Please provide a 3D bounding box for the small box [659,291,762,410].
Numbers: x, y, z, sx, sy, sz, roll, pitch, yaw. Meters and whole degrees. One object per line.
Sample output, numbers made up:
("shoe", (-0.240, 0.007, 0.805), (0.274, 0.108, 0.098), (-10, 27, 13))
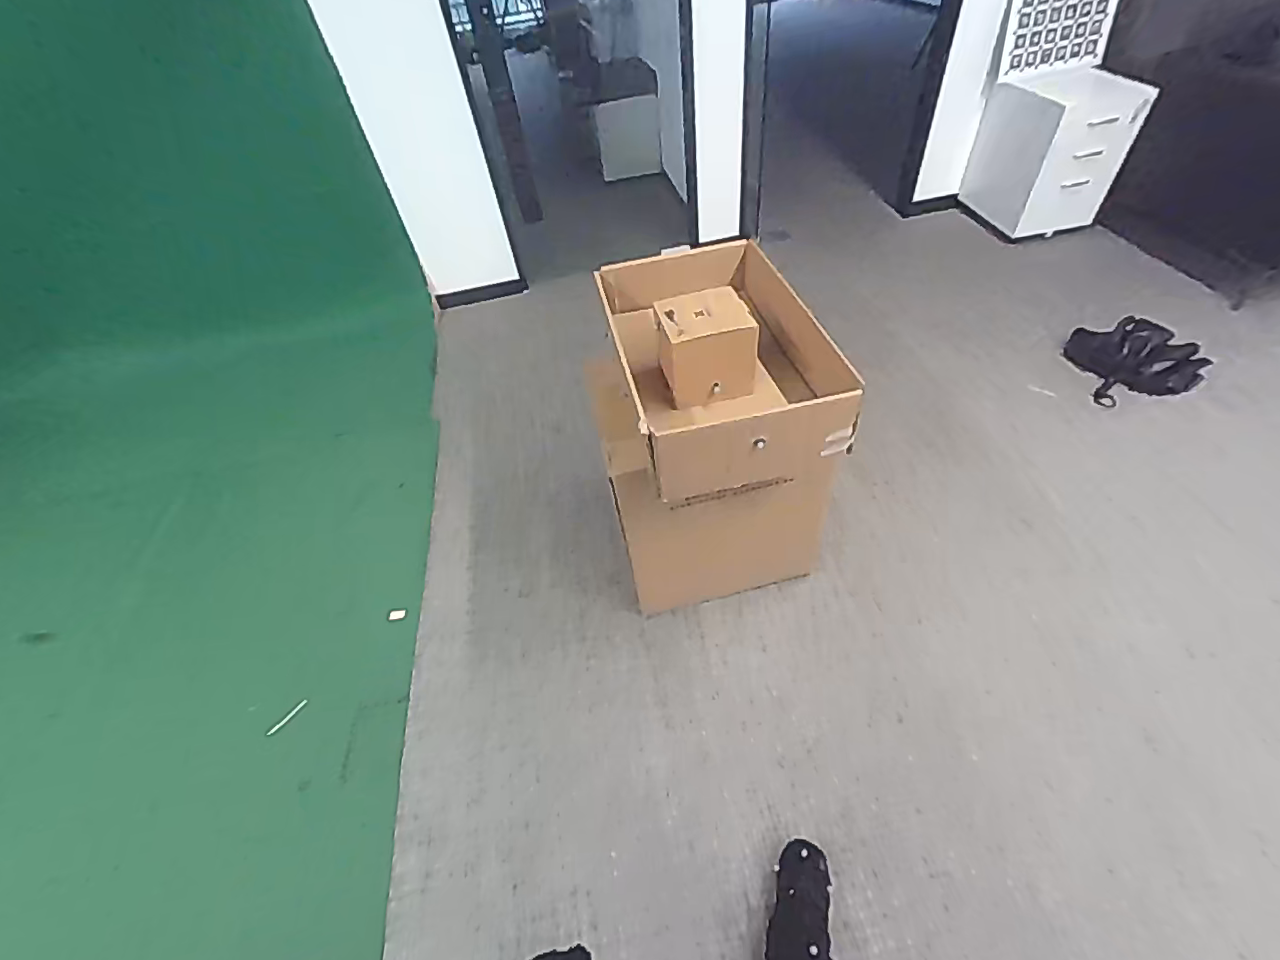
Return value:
("small box", (0.143, -0.272, 1.143), (0.179, 0.176, 0.168), (-11, 46, -4))
